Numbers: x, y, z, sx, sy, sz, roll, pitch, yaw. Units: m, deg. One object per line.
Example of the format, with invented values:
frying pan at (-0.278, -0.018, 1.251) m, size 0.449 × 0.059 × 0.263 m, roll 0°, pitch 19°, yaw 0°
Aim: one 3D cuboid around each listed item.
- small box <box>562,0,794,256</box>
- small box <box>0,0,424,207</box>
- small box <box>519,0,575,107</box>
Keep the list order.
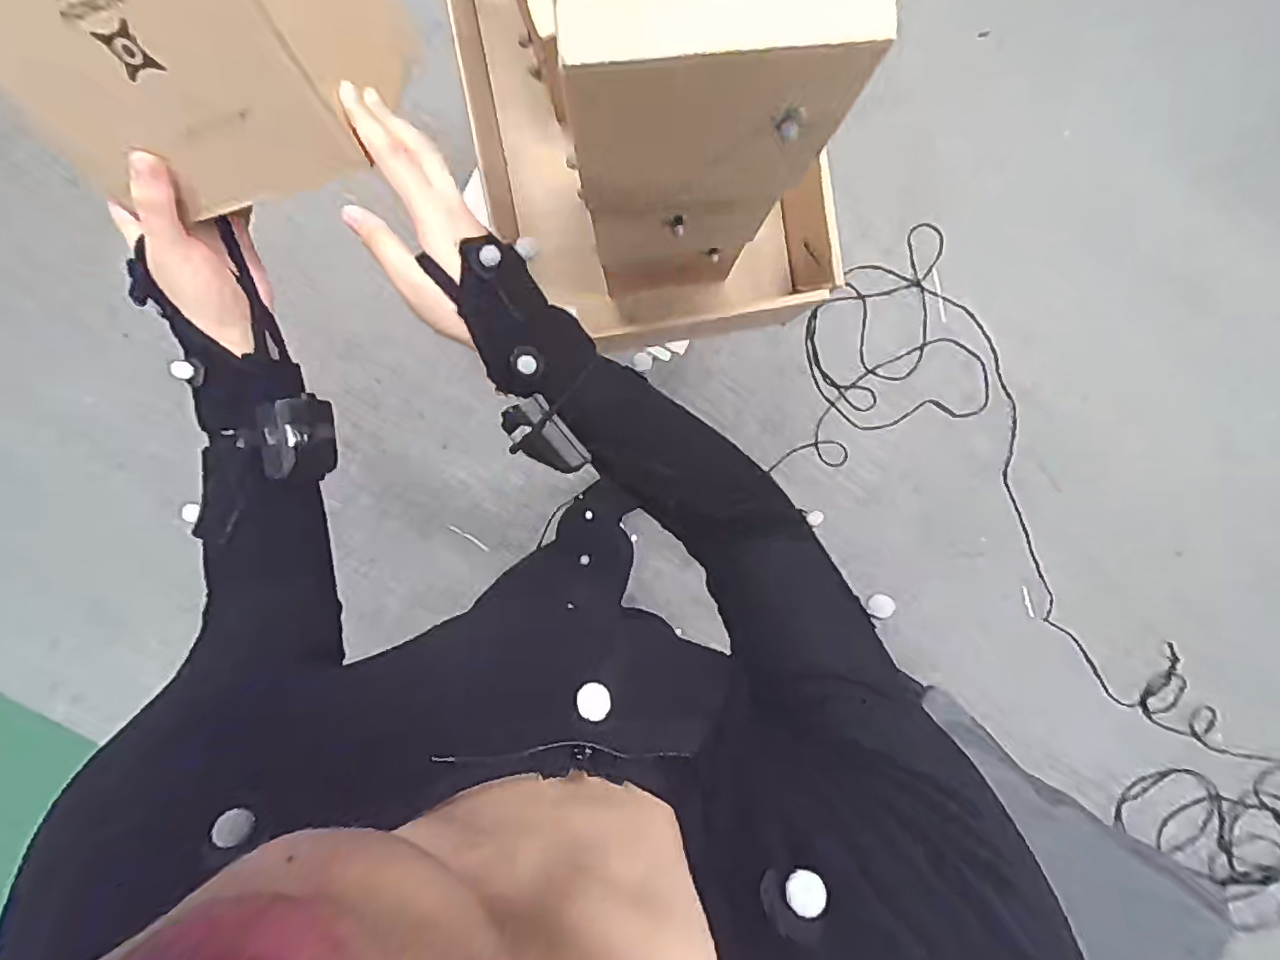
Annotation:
small box at (0.031, -0.333, 0.519) m, size 0.179 × 0.176 × 0.168 m, roll -8°, pitch 94°, yaw 1°
small box at (-0.260, -0.308, 0.328) m, size 0.168 × 0.179 × 0.176 m, roll -8°, pitch 56°, yaw 10°
small box at (-0.060, -0.595, 0.657) m, size 0.168 × 0.176 × 0.179 m, roll -19°, pitch 97°, yaw 0°
